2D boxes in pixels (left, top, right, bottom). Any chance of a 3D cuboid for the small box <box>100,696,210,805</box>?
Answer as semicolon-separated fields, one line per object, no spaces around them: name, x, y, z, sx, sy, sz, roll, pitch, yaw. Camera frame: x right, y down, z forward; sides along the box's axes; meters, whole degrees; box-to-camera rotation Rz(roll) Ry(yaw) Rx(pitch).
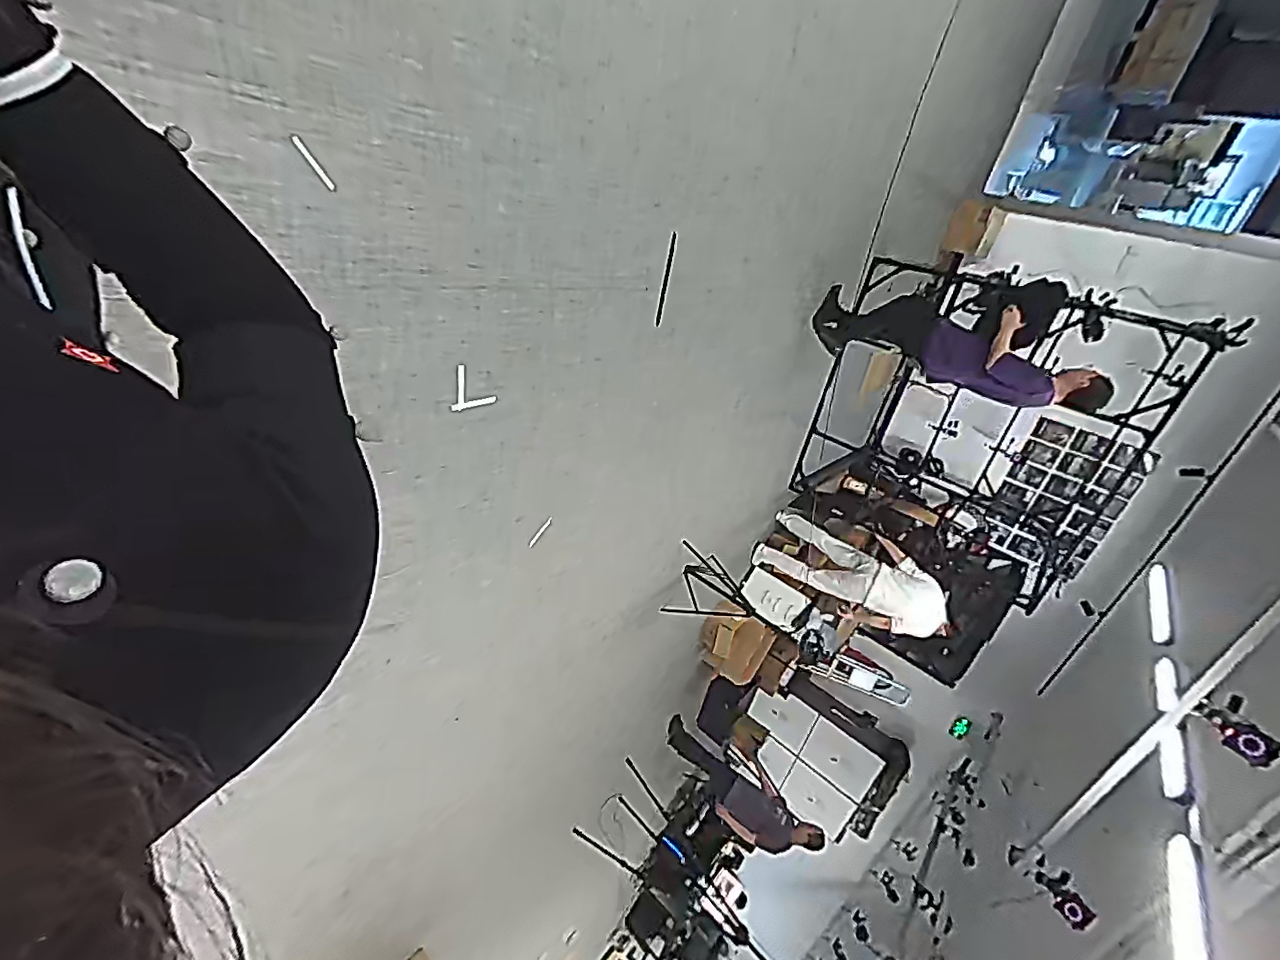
small box;-1.311;0.718;1.463;0.168;0.176;0.179;-26;136;-43
